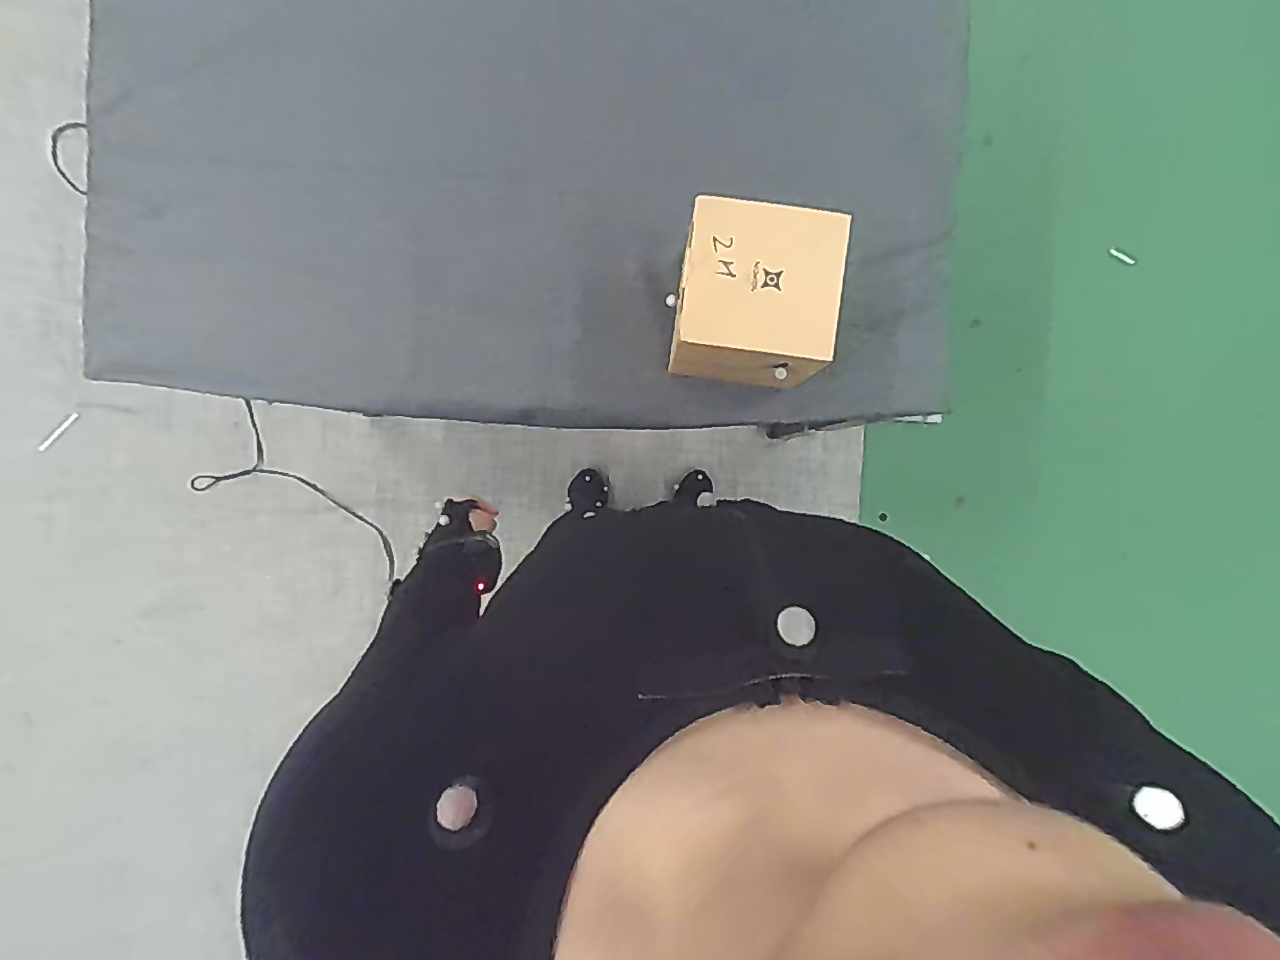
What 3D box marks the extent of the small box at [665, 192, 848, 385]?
[{"bbox_3d":[0.130,-0.219,0.664,0.179,0.176,0.168,7,89,1],"label":"small box"}]
